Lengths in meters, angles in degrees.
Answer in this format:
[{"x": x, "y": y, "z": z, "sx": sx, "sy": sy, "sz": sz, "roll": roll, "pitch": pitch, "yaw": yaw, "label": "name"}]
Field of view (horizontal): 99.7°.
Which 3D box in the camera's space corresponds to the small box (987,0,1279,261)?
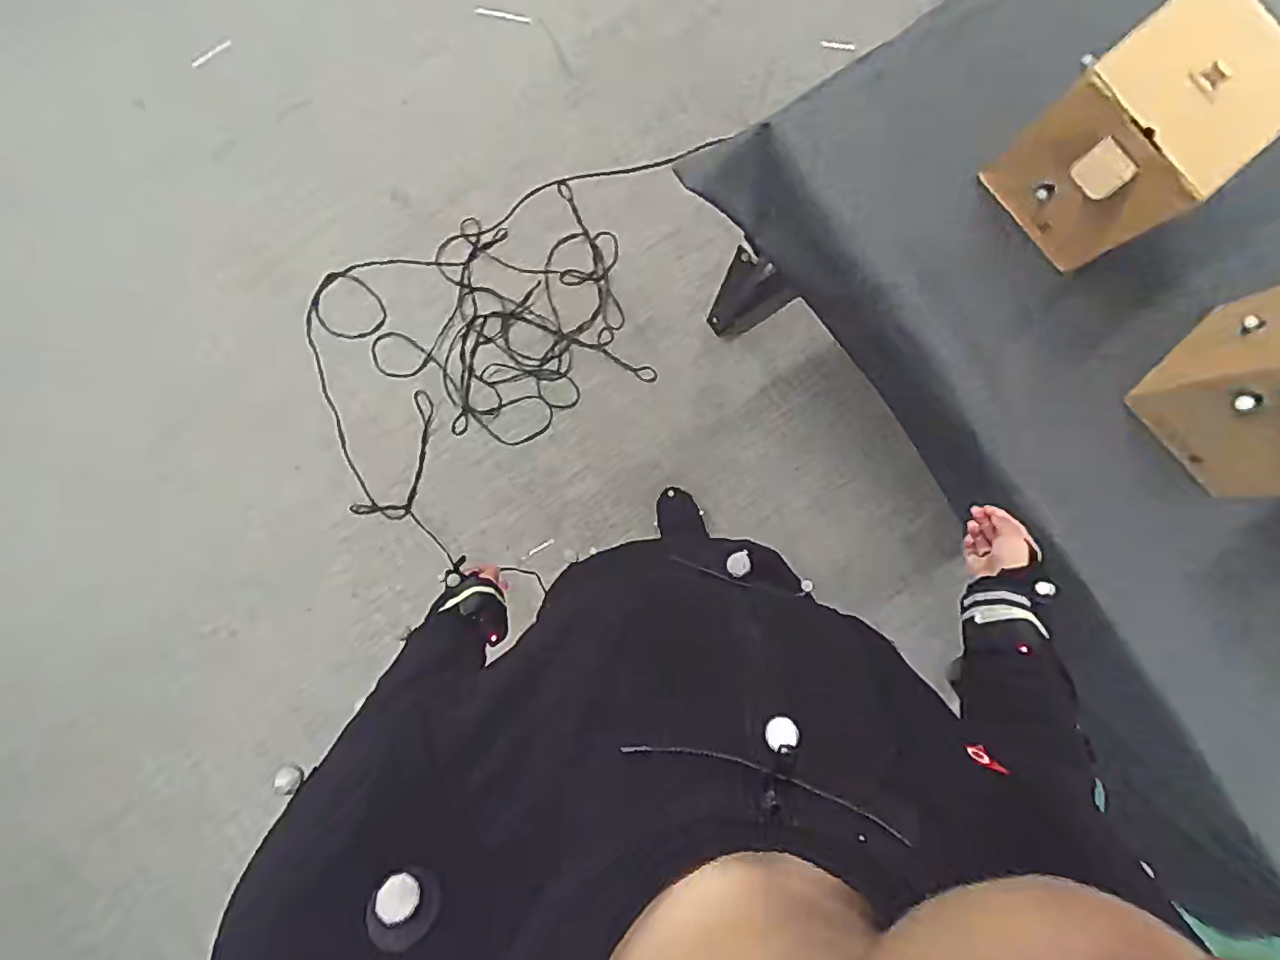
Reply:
[{"x": 0.536, "y": -0.381, "z": 0.587, "sx": 0.179, "sy": 0.176, "sz": 0.168, "roll": -41, "pitch": 90, "yaw": -2, "label": "small box"}]
